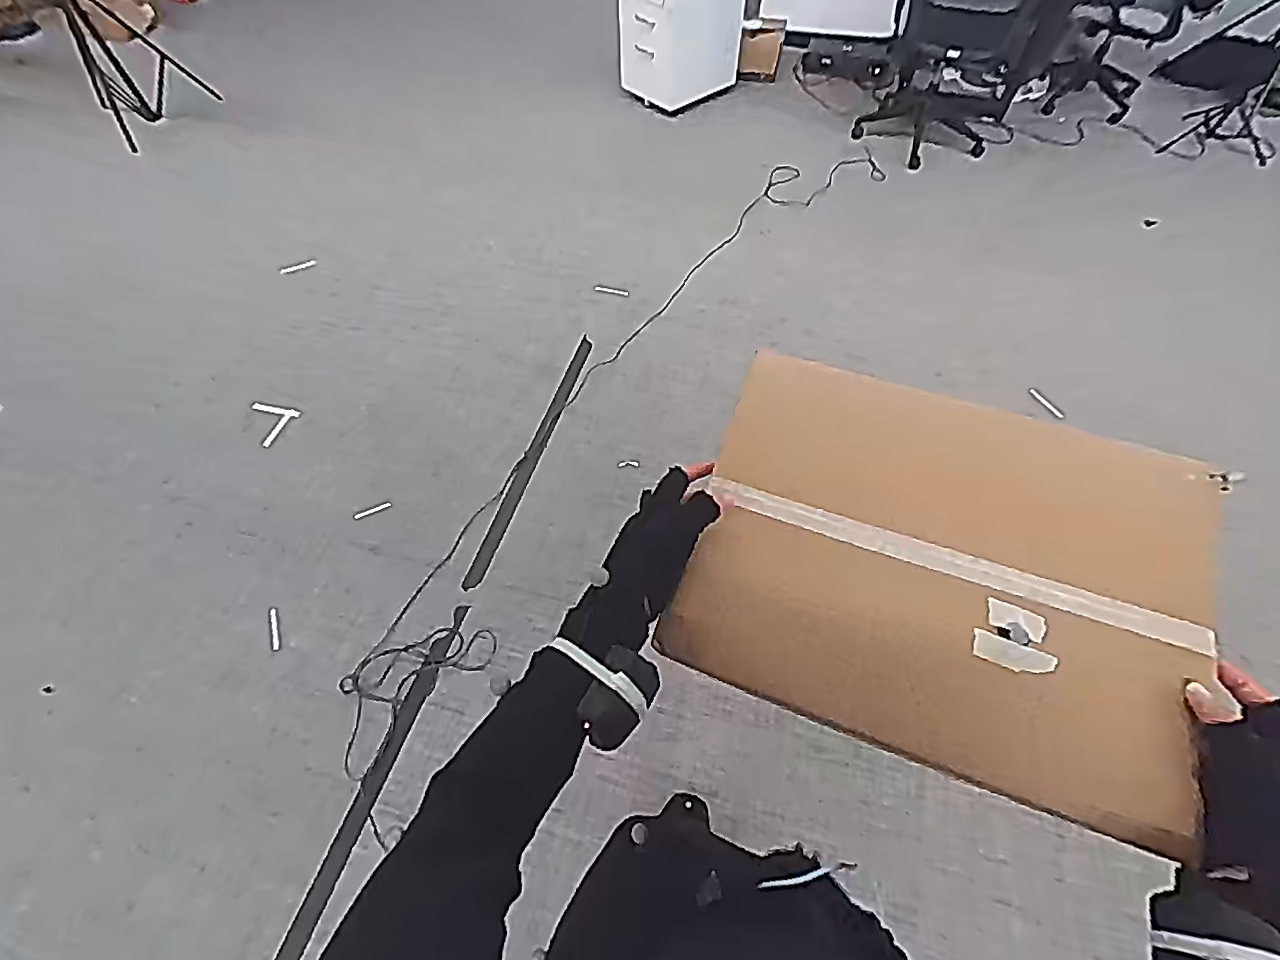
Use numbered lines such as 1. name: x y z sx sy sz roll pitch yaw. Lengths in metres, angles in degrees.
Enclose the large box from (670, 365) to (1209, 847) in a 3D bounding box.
1. large box: 0.275 0.123 0.612 0.408 0.320 0.320 19 74 13
